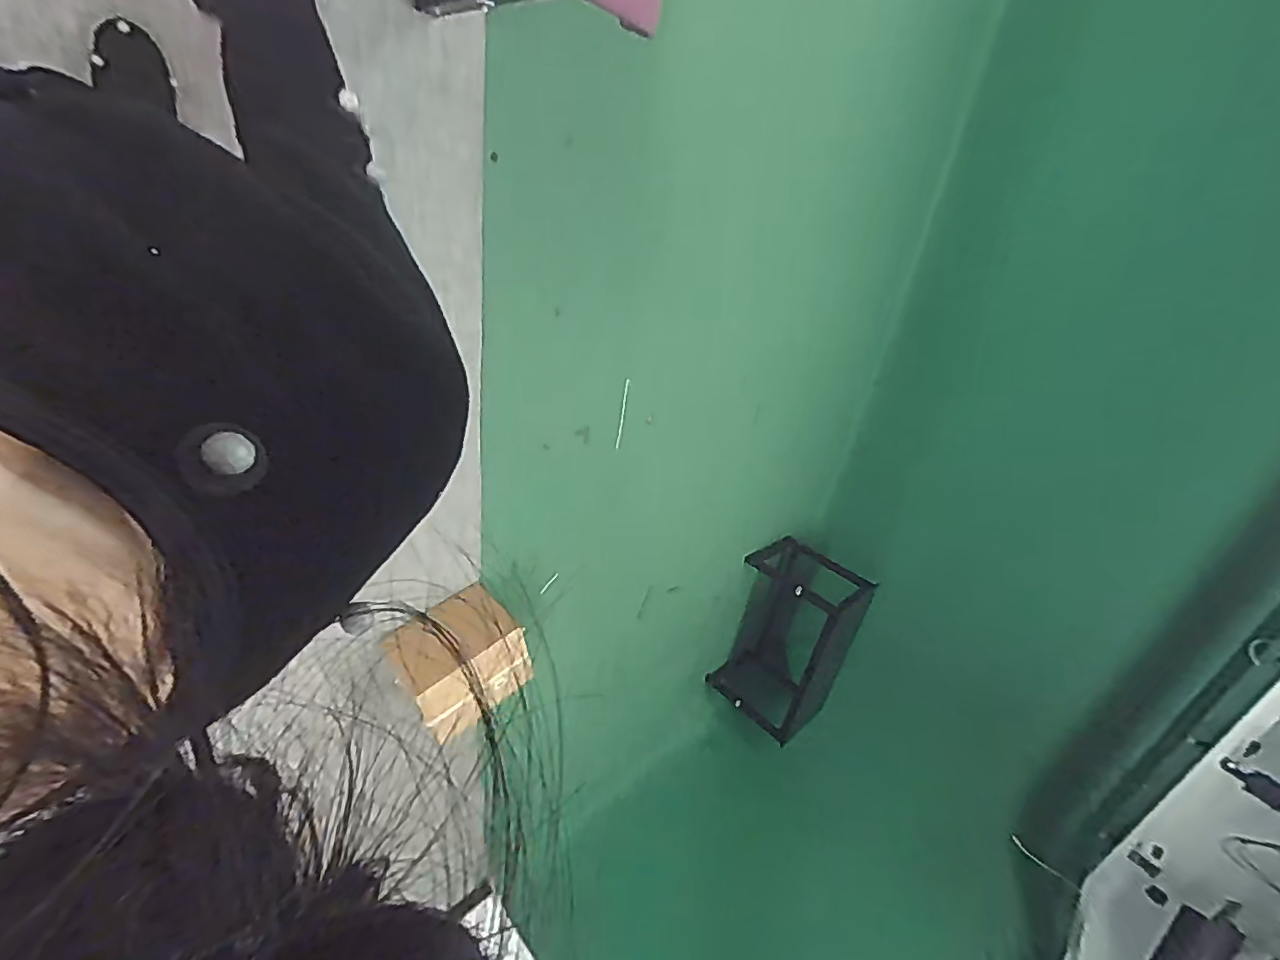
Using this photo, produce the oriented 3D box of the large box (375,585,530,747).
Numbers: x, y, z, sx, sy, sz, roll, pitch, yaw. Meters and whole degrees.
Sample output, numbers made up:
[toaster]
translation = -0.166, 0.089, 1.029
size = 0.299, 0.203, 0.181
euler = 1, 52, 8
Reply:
[large box]
translation = -0.678, 0.669, 1.989
size = 0.408, 0.320, 0.320
euler = -32, 136, -33
